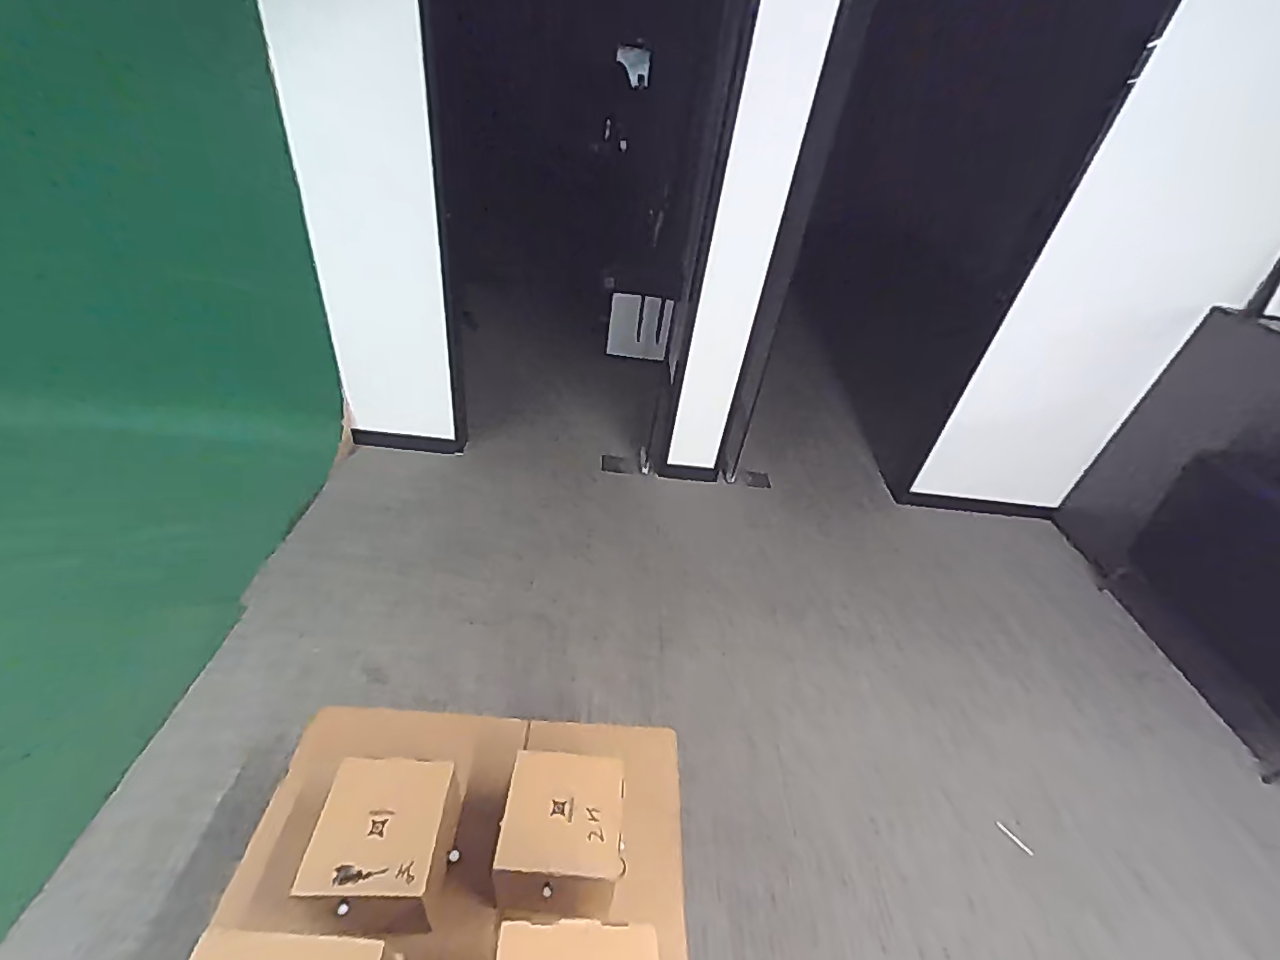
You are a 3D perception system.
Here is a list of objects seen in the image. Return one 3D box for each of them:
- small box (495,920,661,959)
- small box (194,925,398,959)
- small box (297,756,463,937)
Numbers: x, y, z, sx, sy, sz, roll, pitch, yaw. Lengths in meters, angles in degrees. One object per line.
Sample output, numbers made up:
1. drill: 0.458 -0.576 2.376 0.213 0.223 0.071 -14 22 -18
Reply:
1. small box: -0.072 0.570 0.528 0.168 0.176 0.179 9 31 -10
2. small box: -0.347 0.559 0.518 0.179 0.176 0.168 7 38 -3
3. small box: -0.368 0.543 0.806 0.168 0.176 0.179 4 36 -4
